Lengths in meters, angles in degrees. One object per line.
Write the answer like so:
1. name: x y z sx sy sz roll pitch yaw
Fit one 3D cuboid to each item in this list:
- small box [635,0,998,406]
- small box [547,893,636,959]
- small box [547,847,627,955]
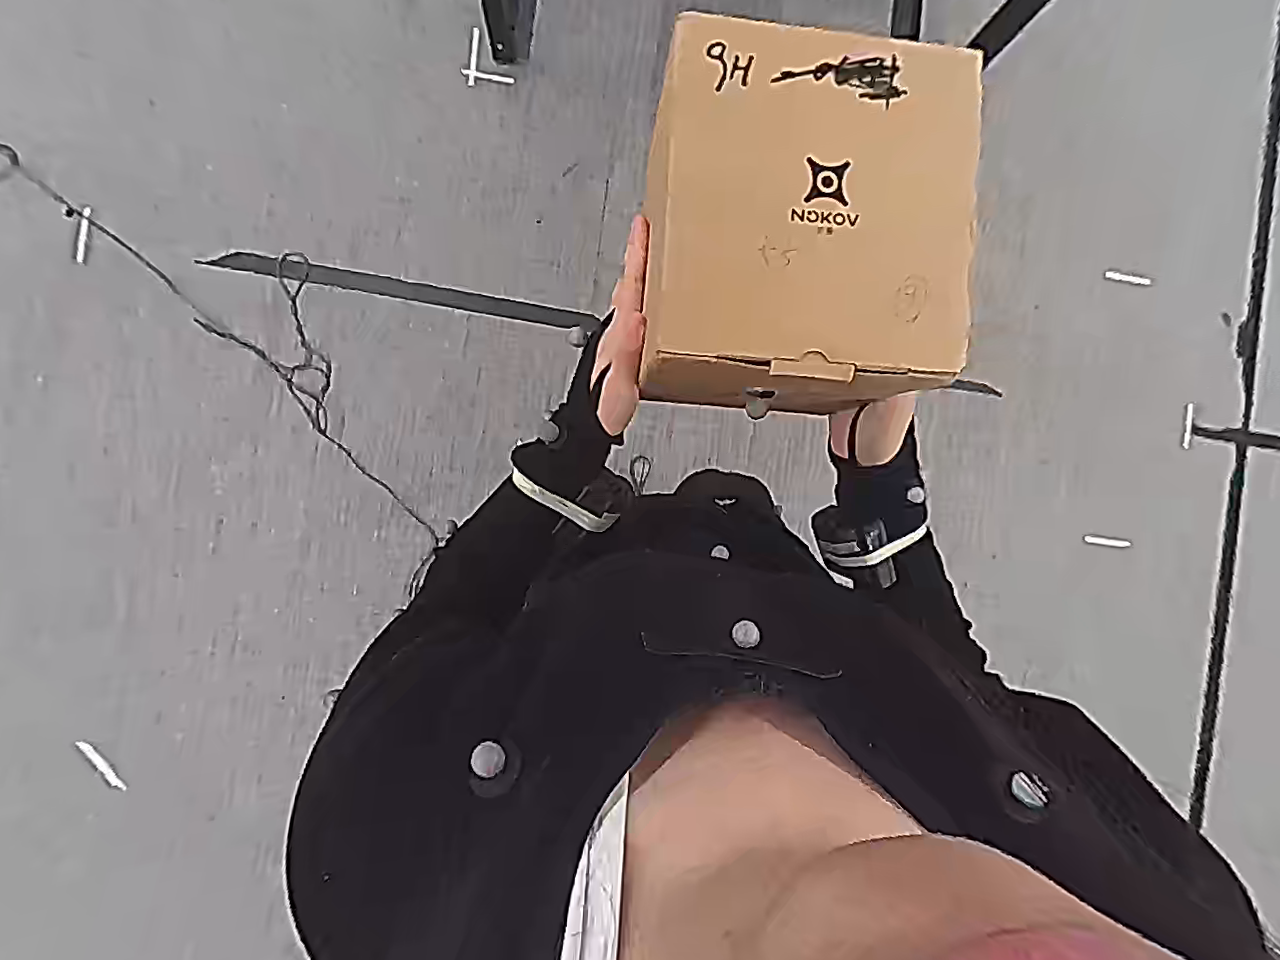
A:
1. small box: 0.088 -0.146 0.351 0.168 0.176 0.179 4 91 -6
2. small box: -0.117 1.088 1.233 0.179 0.176 0.168 10 90 -8
3. small box: -0.138 1.084 1.396 0.179 0.176 0.168 9 89 -8
